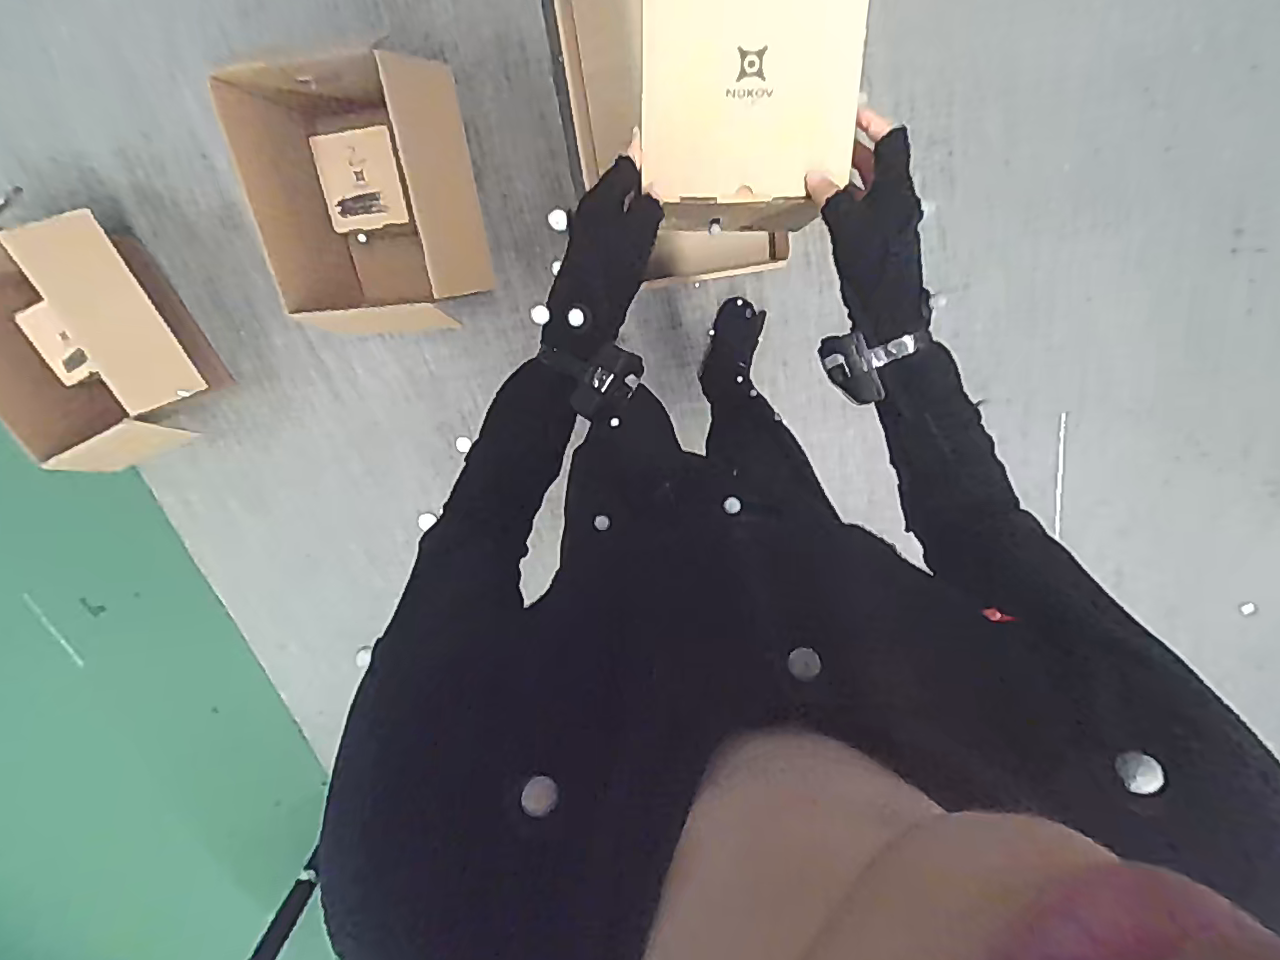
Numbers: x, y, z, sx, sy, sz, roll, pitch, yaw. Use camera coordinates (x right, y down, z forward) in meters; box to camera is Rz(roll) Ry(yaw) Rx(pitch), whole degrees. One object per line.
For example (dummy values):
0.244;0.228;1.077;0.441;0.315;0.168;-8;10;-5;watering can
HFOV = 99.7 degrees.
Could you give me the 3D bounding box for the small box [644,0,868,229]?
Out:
0.089;-0.333;0.486;0.168;0.176;0.179;1;108;3;small box
